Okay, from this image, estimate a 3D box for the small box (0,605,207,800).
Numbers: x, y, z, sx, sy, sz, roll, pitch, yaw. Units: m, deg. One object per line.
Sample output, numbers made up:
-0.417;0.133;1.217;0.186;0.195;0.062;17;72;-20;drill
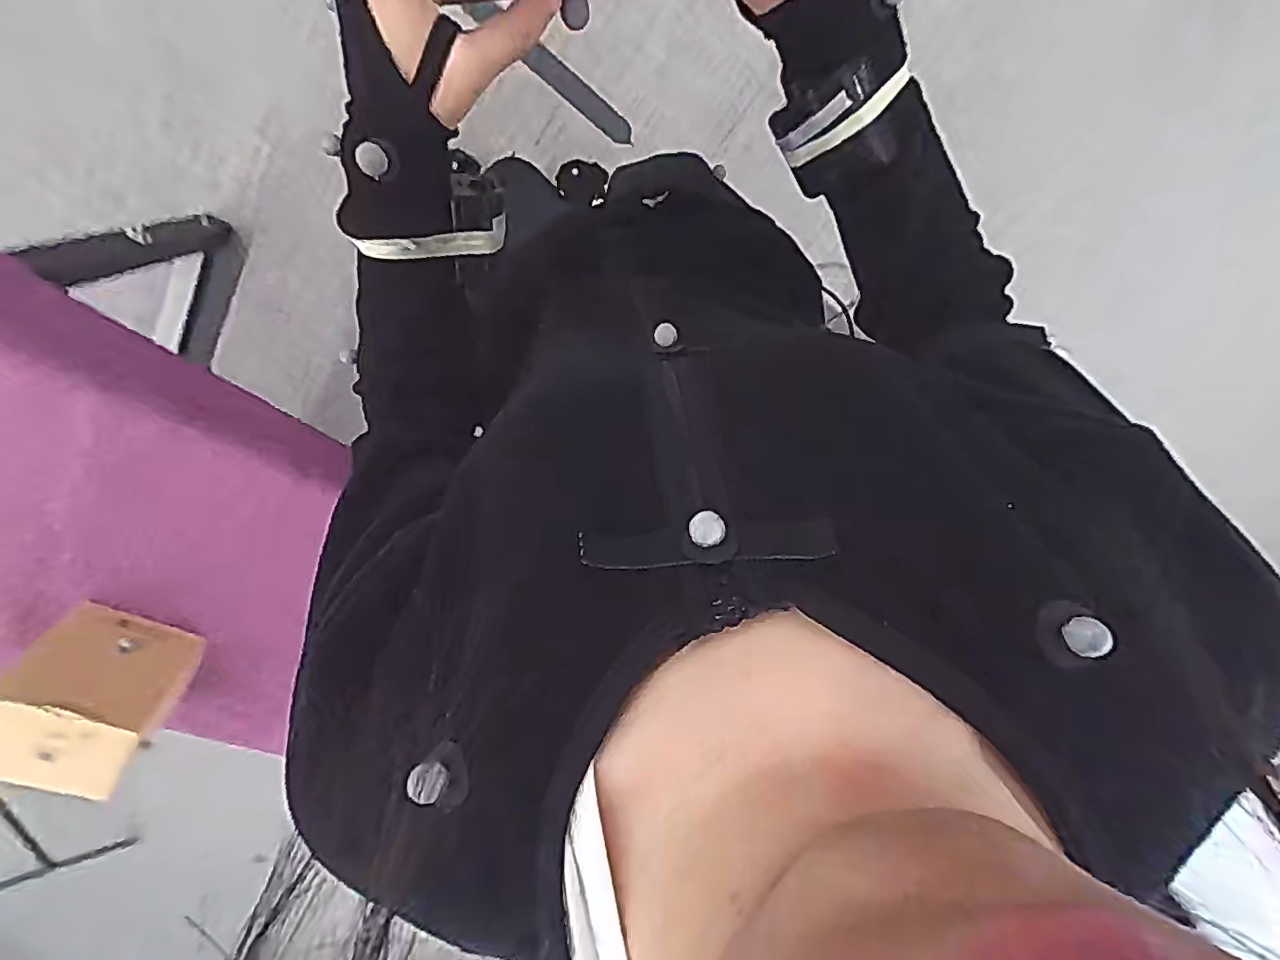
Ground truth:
-0.777;0.317;0.781;0.168;0.176;0.179;29;112;-23;small box
